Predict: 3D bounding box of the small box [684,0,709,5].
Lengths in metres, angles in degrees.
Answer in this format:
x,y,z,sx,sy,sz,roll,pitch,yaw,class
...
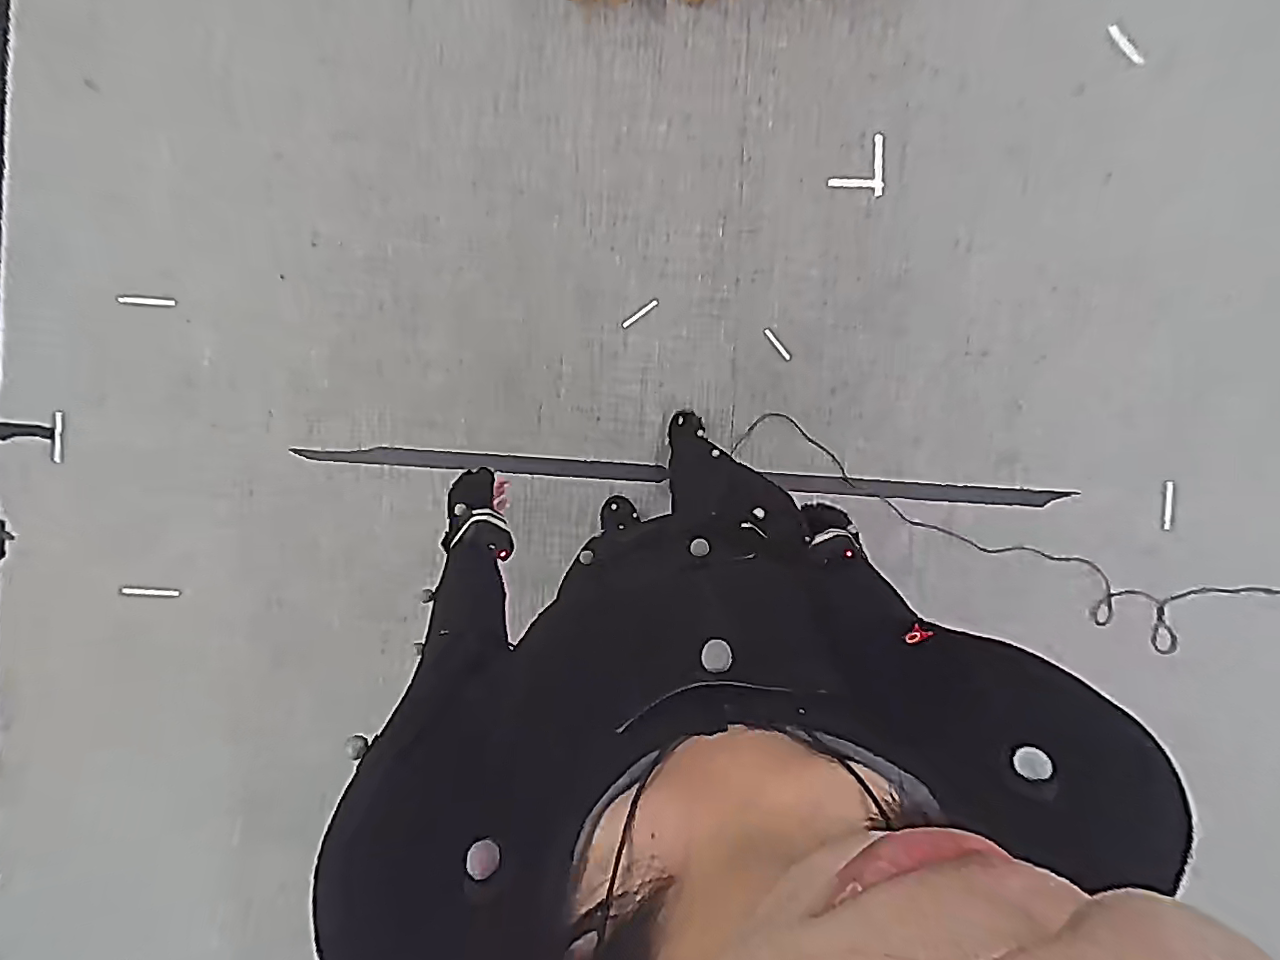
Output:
x,y,z,sx,sy,sz,roll,pitch,yaw,class
0.180,-1.434,1.438,0.168,0.176,0.179,-16,91,0,small box

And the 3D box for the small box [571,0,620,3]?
x,y,z,sx,sy,sz,roll,pitch,yaw,class
-0.117,-1.417,1.433,0.179,0.176,0.168,2,90,-1,small box
